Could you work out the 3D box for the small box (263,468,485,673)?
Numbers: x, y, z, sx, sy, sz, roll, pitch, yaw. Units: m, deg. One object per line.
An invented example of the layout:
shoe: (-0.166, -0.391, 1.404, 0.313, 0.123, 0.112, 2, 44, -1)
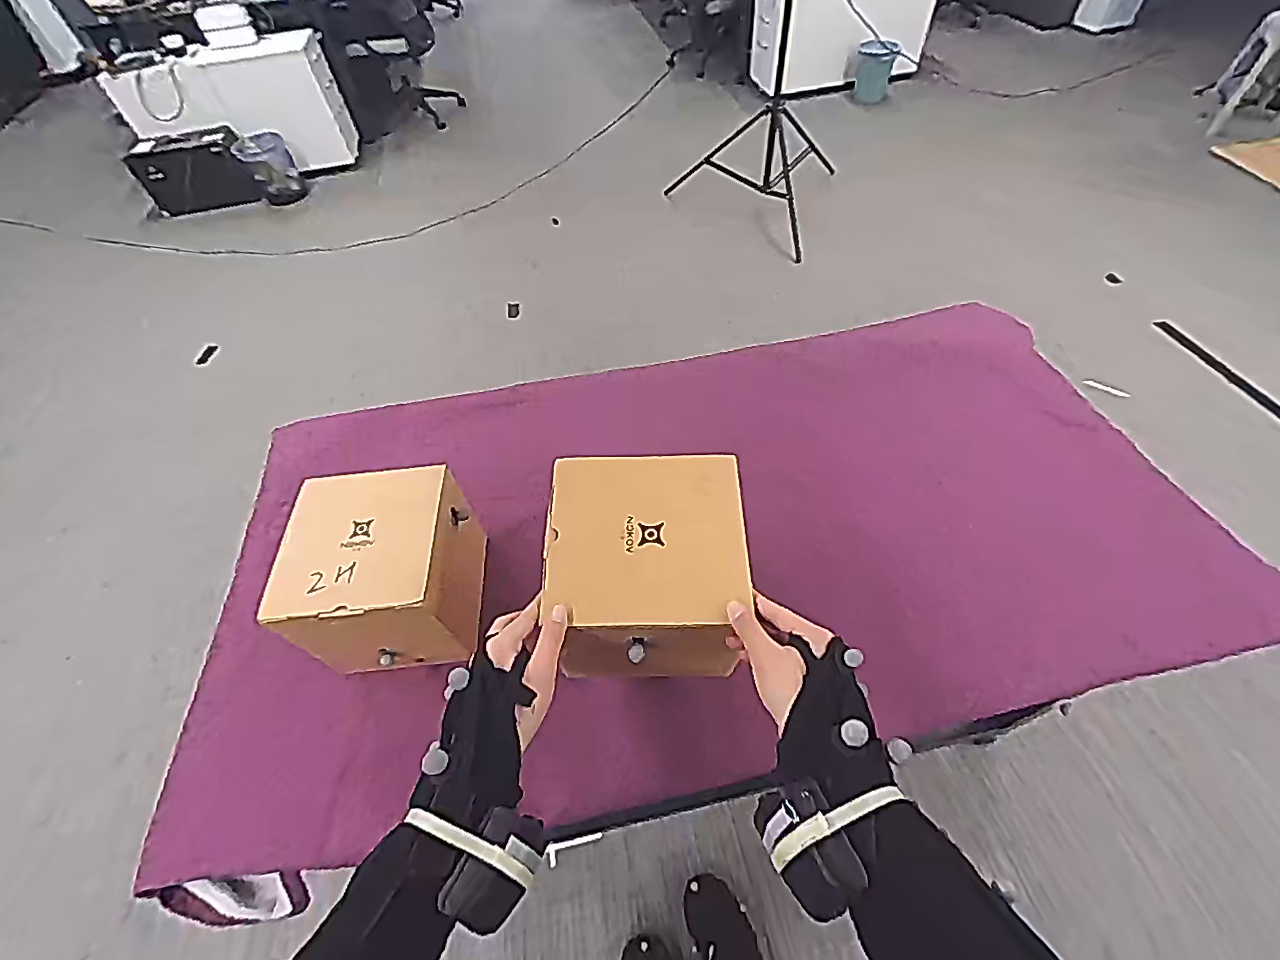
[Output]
small box: (-0.291, 0.110, 0.642, 0.168, 0.176, 0.179, -7, 53, 0)
